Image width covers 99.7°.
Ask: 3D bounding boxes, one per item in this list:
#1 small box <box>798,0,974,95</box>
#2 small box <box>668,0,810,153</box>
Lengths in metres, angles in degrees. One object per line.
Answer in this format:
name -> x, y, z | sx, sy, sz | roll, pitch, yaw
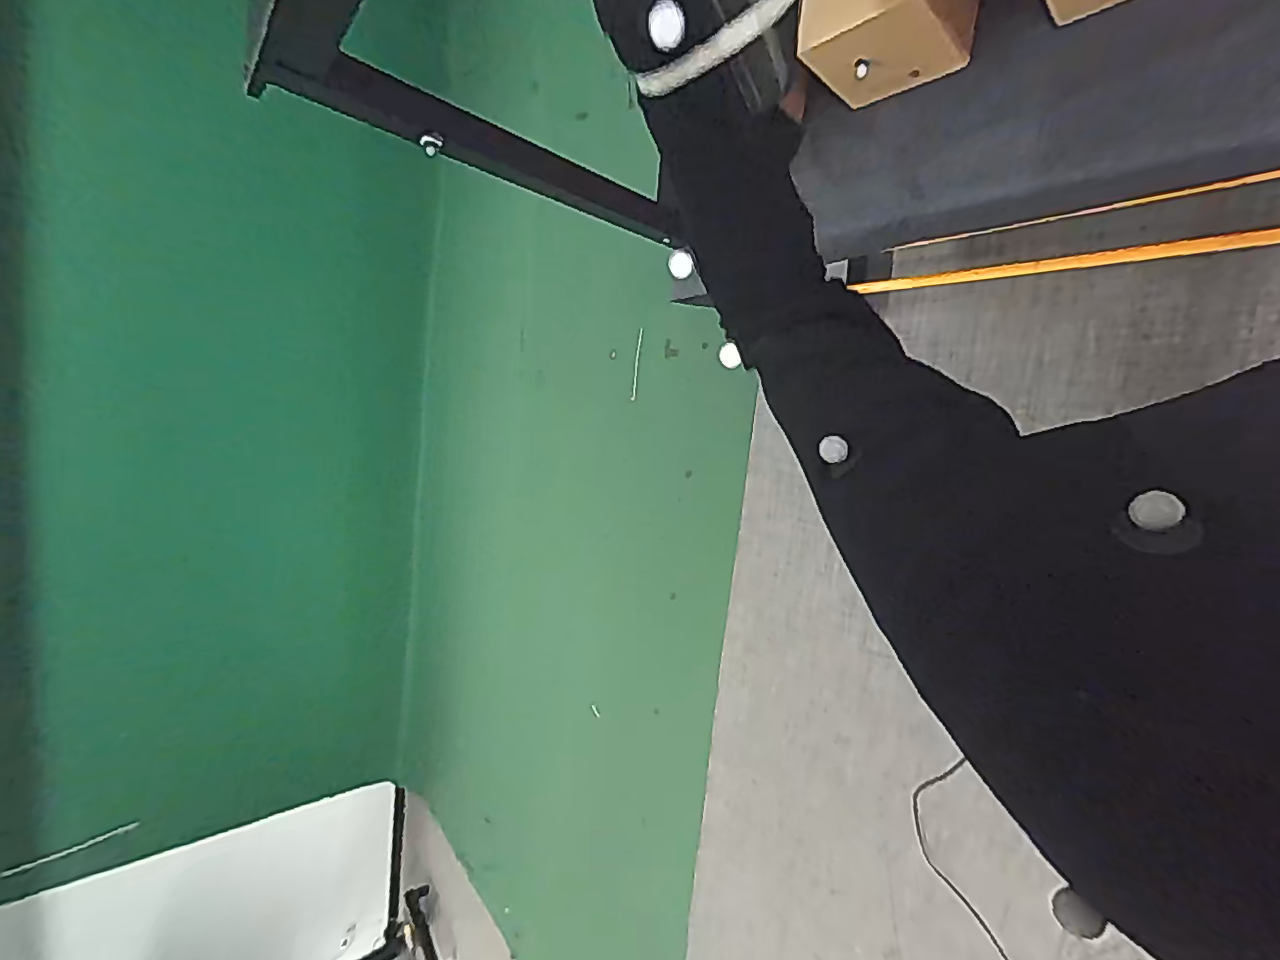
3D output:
small box -> 0.339, -0.661, 0.727 | 0.168, 0.176, 0.179 | 13, 99, 48
small box -> 0.172, -0.696, 0.914 | 0.168, 0.176, 0.179 | 13, 100, 48
